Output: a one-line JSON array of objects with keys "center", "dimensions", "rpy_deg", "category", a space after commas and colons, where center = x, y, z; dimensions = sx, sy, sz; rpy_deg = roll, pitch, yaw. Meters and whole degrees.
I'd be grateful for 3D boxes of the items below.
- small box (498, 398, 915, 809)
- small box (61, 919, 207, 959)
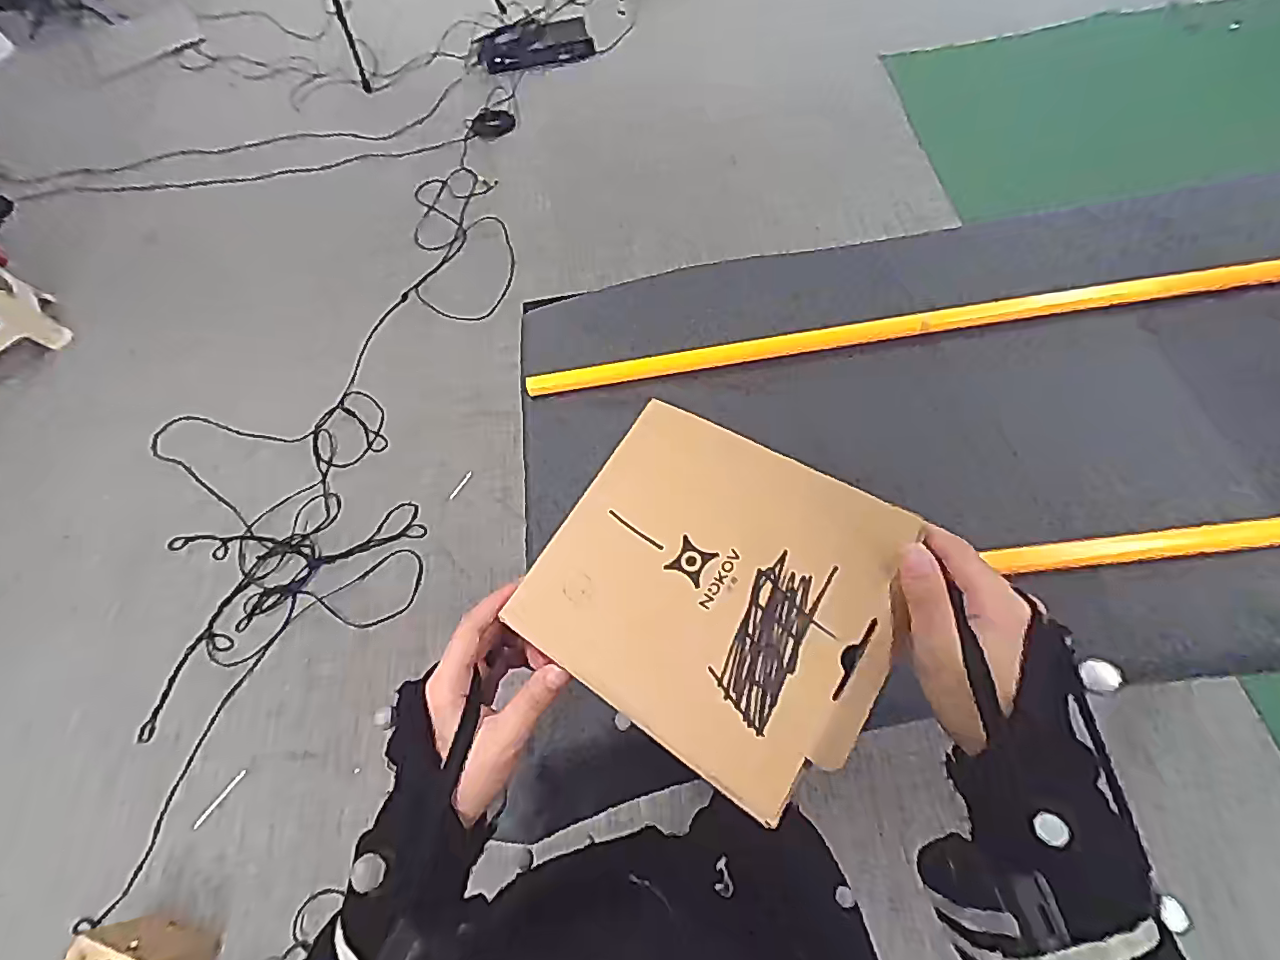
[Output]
[{"center": [0.047, 0.081, 0.367], "dimensions": [0.179, 0.176, 0.168], "rpy_deg": [28, 73, 23], "category": "small box"}, {"center": [-0.965, 0.960, 0.996], "dimensions": [0.168, 0.176, 0.179], "rpy_deg": [11, 64, 12], "category": "small box"}]
